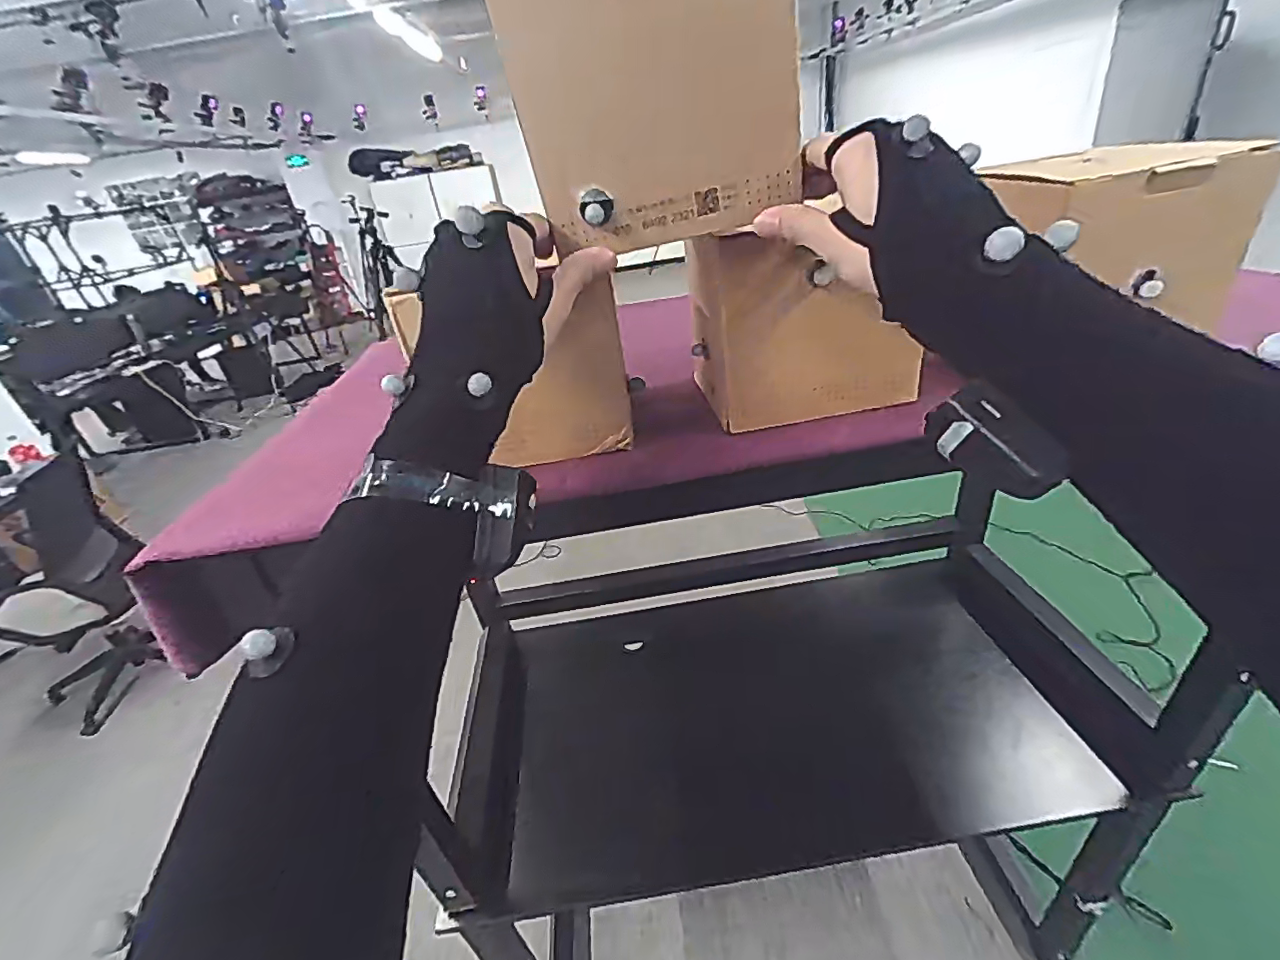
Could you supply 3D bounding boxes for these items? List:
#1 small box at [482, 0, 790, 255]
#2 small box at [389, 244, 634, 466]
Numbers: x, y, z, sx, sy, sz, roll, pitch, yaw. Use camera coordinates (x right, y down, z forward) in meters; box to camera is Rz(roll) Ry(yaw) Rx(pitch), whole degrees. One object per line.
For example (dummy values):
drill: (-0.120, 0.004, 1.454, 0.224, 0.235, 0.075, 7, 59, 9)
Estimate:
small box: (0.008, -0.277, 0.392, 0.168, 0.176, 0.179, -10, 35, 7)
small box: (-0.105, -0.125, 0.529, 0.179, 0.176, 0.168, -8, 30, 1)
